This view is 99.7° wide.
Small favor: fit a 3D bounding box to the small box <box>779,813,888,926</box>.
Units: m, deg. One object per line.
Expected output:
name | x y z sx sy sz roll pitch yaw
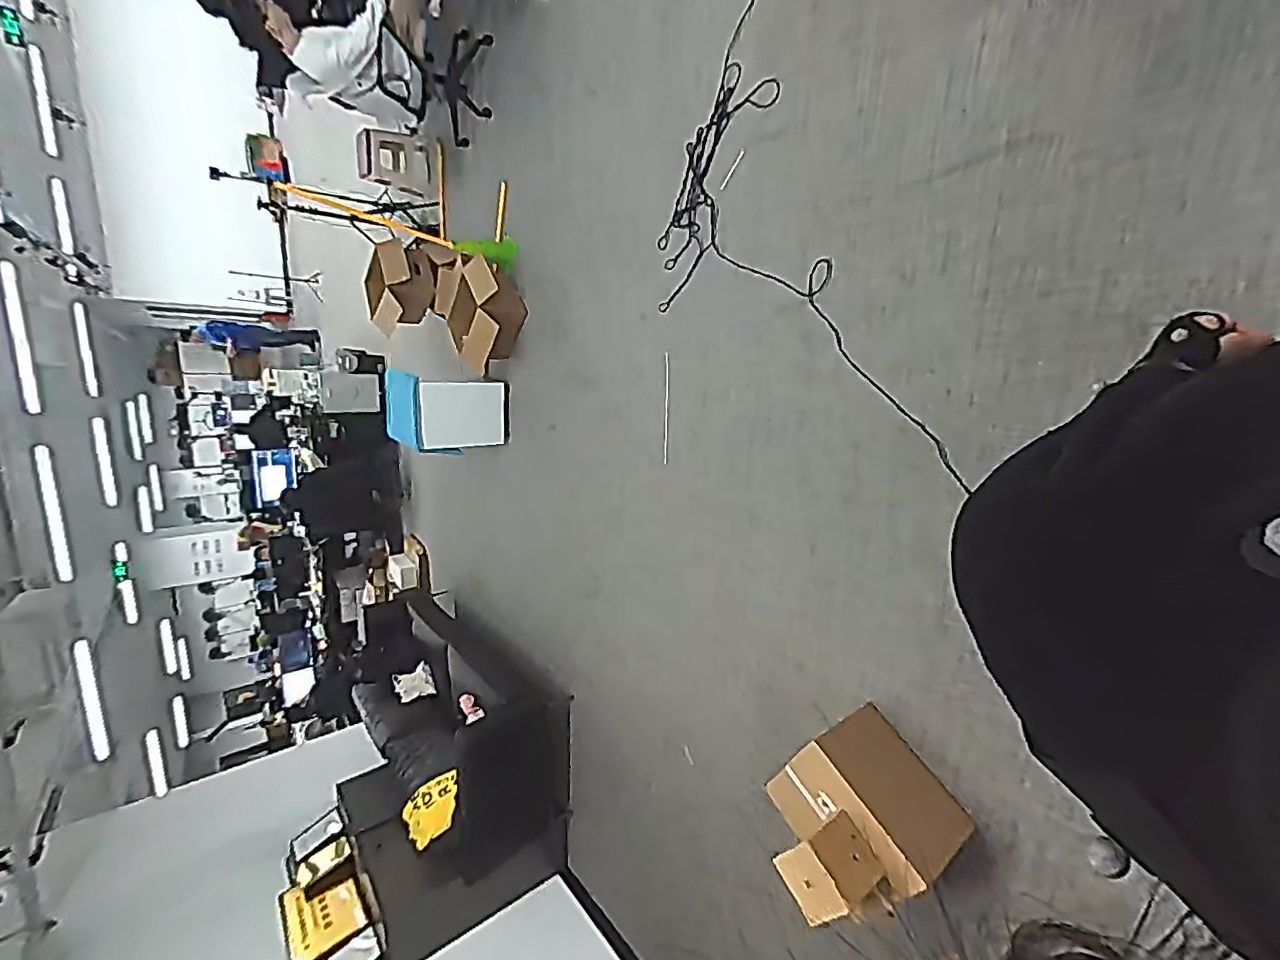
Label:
small box | 0.511 1.021 1.424 0.168 0.176 0.179 55 135 32
